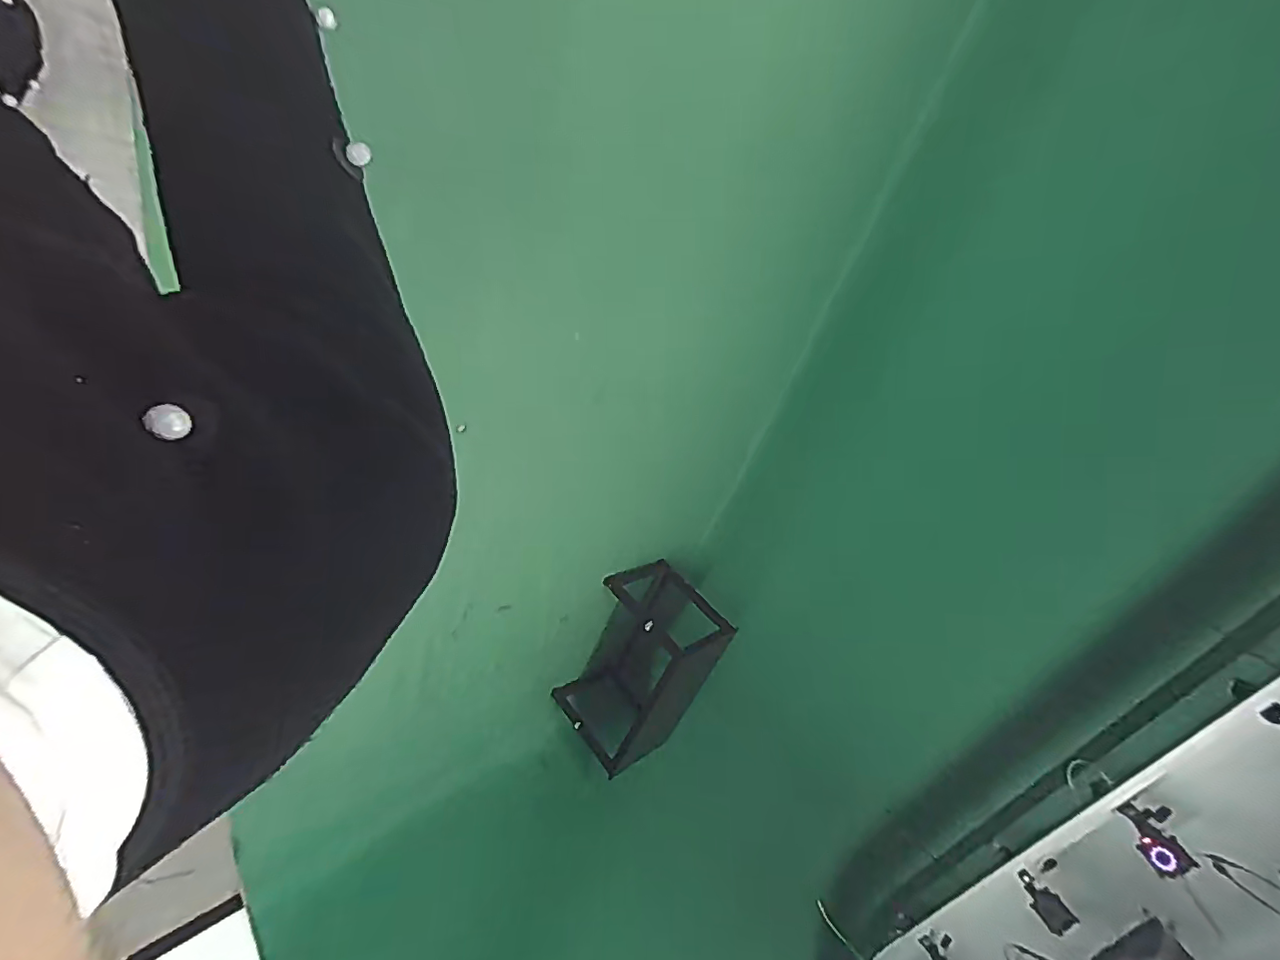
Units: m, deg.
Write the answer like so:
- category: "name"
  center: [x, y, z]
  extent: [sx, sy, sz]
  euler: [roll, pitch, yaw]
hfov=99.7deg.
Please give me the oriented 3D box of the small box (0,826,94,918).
- category: "small box"
  center: [-1.462, 0.967, 1.280]
  extent: [0.179, 0.176, 0.168]
  euler: [-34, 147, -22]
